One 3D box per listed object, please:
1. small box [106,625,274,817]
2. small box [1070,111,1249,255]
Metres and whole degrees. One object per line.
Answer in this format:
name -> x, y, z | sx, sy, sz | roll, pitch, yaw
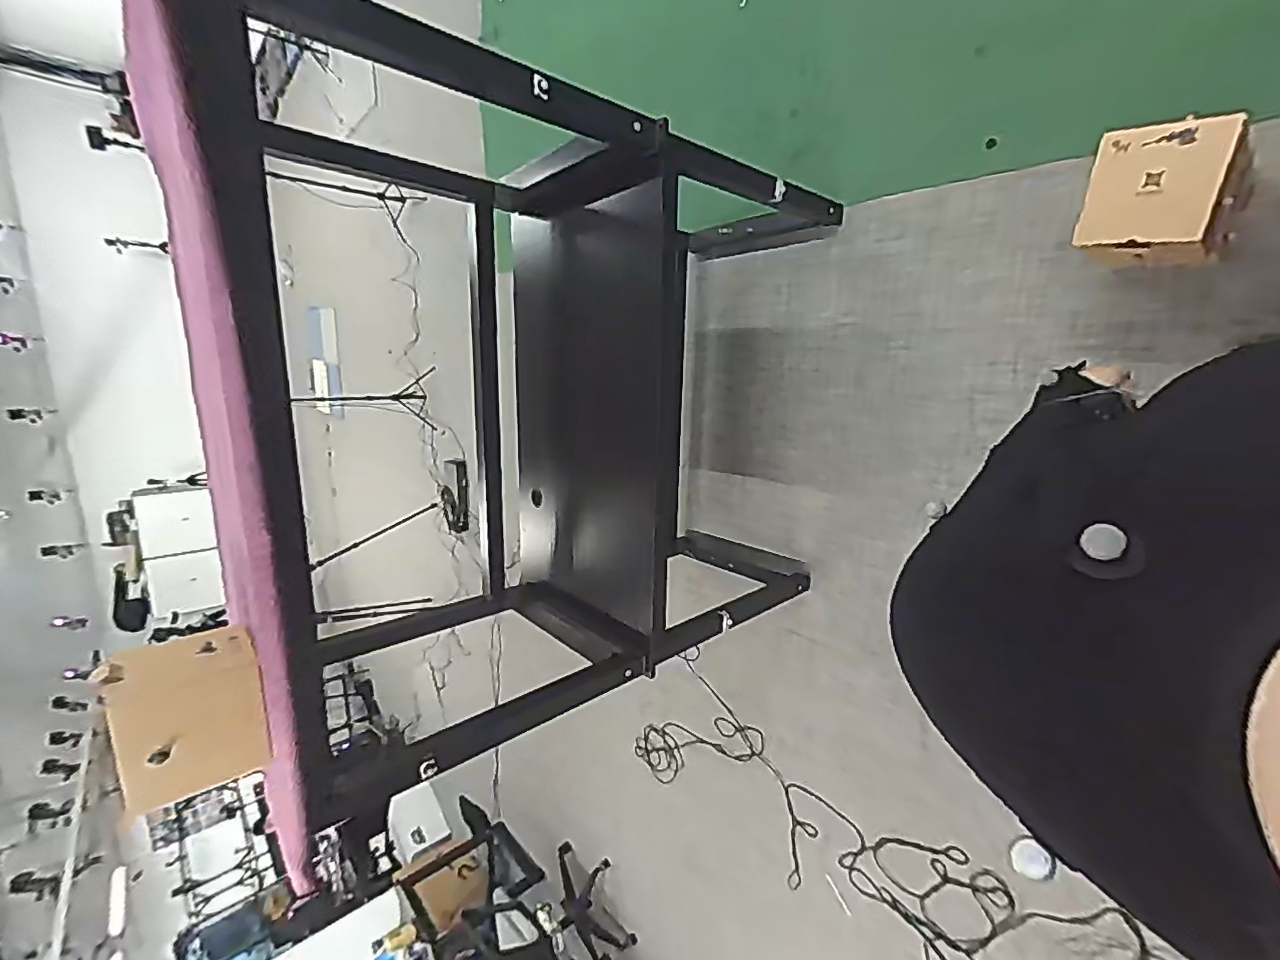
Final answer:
small box -> -0.671, 0.347, 0.816 | 0.168, 0.176, 0.179 | 12, 106, 46
small box -> 0.858, -0.474, 0.894 | 0.168, 0.176, 0.179 | 24, 115, 45
